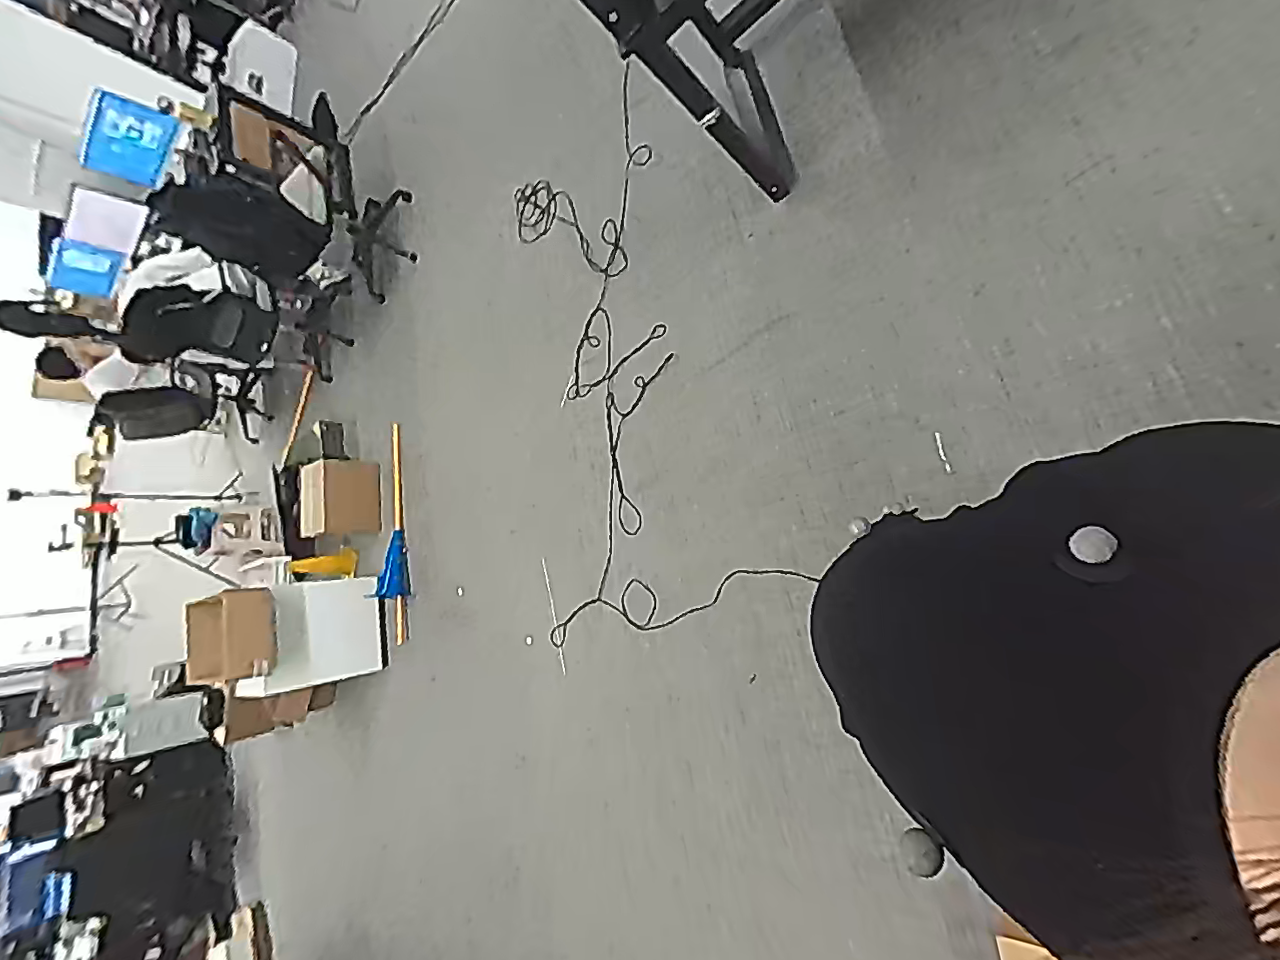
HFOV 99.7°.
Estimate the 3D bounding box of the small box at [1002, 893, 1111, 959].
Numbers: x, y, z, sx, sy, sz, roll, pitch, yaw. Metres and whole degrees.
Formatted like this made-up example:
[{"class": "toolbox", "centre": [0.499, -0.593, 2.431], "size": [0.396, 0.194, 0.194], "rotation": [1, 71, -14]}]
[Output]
[{"class": "small box", "centre": [0.870, 1.010, 1.114], "size": [0.168, 0.176, 0.179], "rotation": [-14, 78, 37]}]
